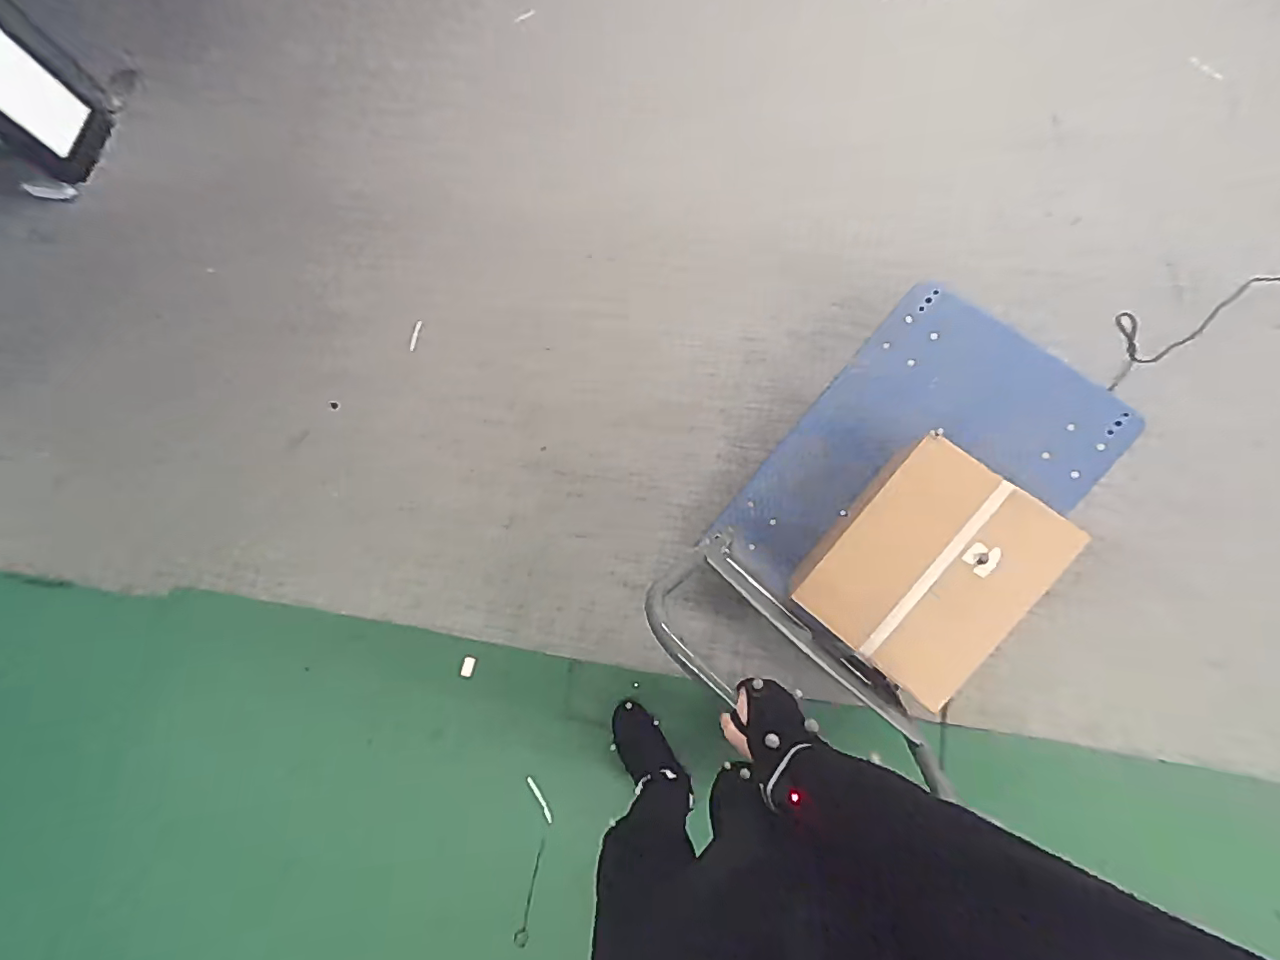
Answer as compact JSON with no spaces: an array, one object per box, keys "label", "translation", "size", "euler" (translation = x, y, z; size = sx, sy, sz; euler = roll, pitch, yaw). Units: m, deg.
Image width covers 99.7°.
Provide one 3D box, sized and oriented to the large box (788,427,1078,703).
[{"label":"large box","translation":[0.551,0.163,1.114],"size":[0.320,0.320,0.408],"euler":[40,94,13]}]
